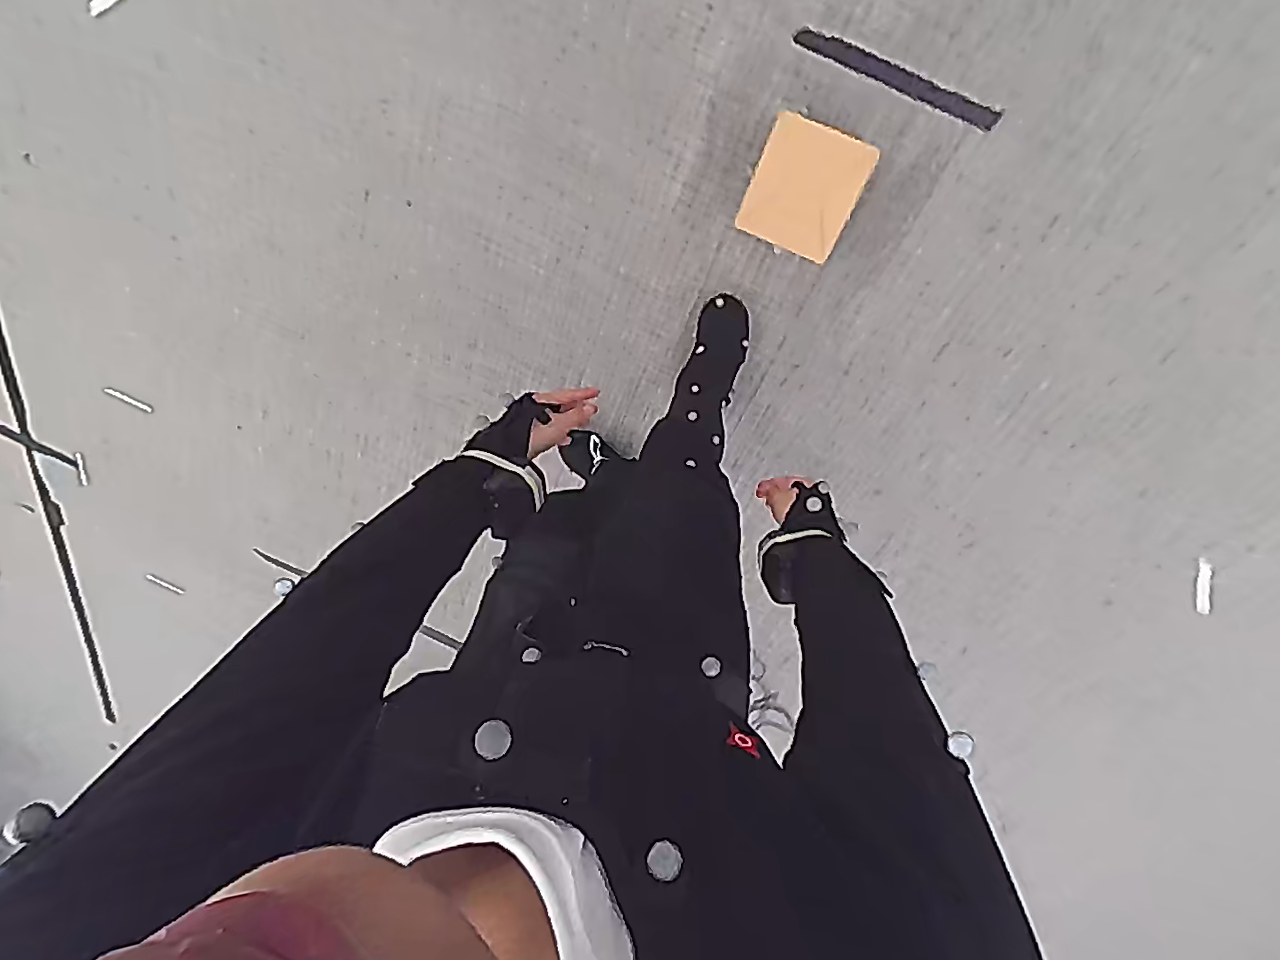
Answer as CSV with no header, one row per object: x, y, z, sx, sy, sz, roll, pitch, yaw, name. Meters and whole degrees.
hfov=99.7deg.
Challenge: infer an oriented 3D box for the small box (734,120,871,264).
0.273,-0.496,0.932,0.168,0.176,0.179,24,121,0,small box
